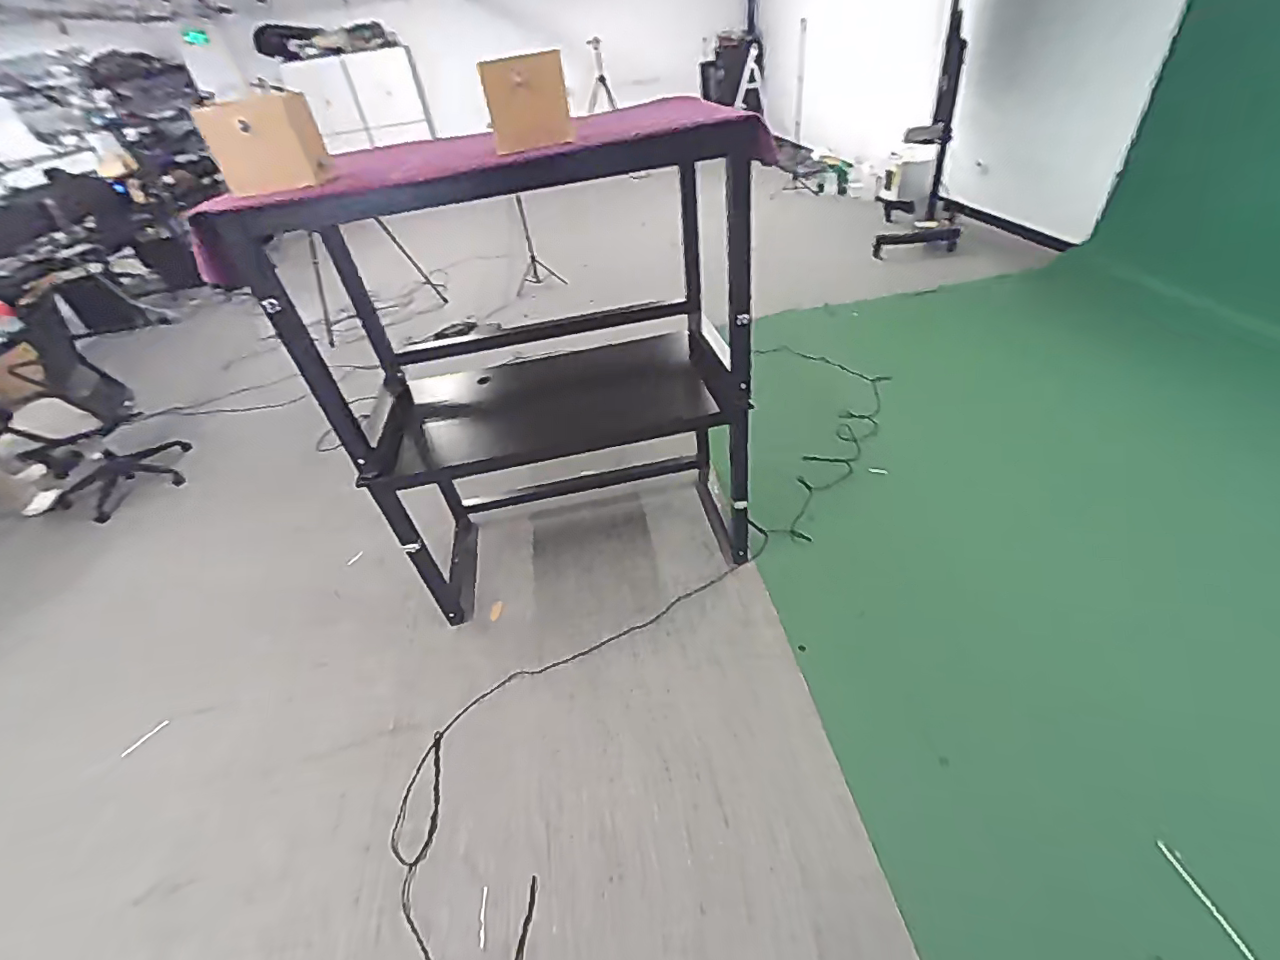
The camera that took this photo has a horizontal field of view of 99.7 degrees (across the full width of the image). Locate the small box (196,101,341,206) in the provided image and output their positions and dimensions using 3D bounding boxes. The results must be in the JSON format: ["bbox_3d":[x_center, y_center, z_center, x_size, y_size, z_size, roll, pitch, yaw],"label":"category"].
[{"bbox_3d":[-0.794,-0.711,1.178,0.179,0.176,0.168,-11,39,-4],"label":"small box"}]

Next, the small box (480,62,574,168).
[{"bbox_3d":[-0.251,-0.825,1.221,0.179,0.176,0.168,-15,38,-5],"label":"small box"}]
